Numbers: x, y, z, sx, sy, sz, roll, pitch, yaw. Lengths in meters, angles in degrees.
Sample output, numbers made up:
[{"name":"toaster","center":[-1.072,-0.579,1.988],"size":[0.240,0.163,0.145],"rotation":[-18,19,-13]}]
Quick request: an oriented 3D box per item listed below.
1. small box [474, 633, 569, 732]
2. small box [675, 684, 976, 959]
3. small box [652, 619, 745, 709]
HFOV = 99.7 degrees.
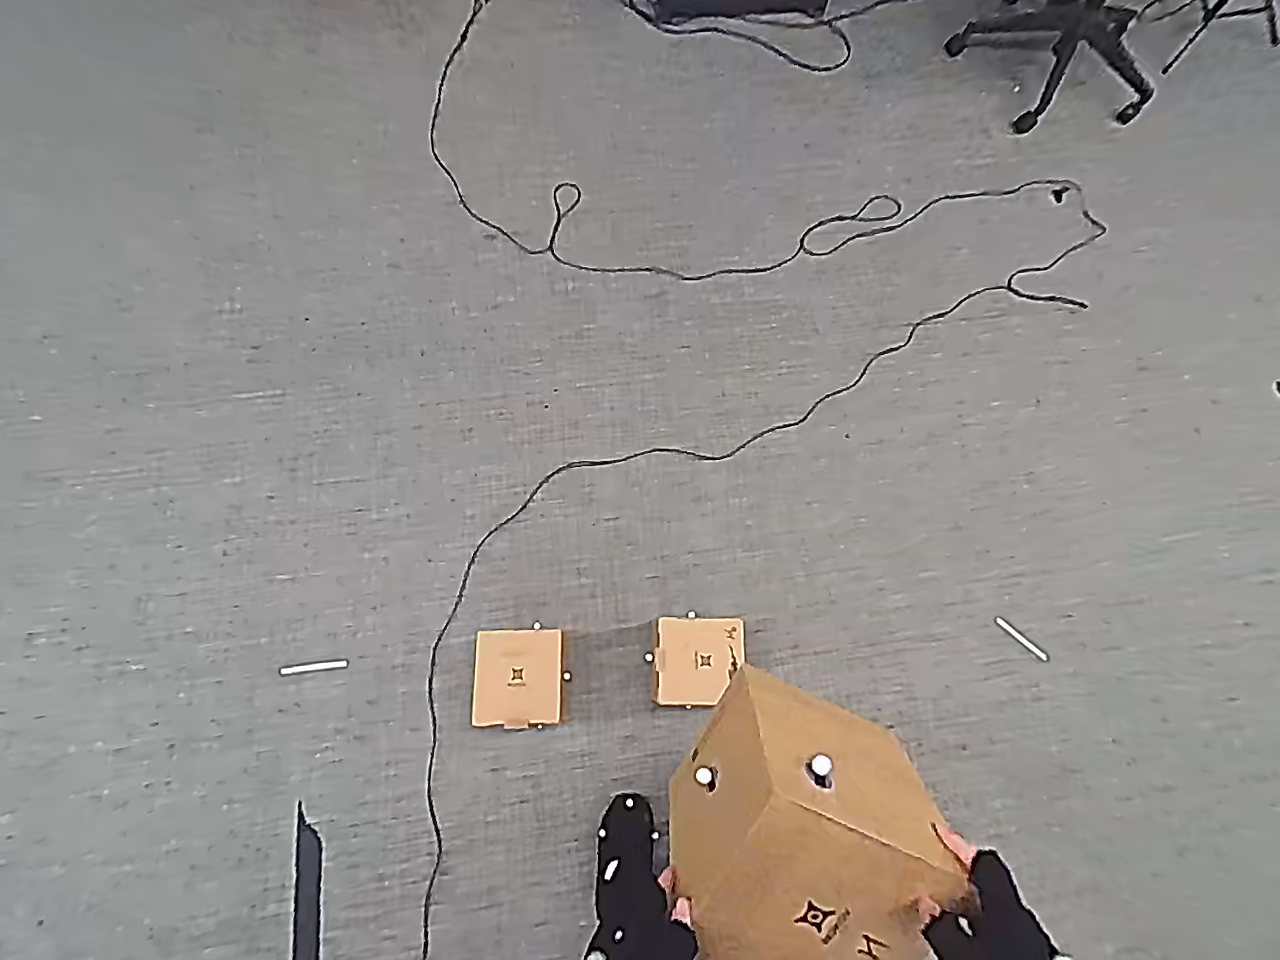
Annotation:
[{"name":"small box","center":[-0.235,0.409,1.115],"size":[0.168,0.176,0.179],"rotation":[0,74,-4]},{"name":"small box","center":[0.141,0.317,0.489],"size":[0.179,0.176,0.168],"rotation":[25,103,-4]},{"name":"small box","center":[0.118,0.384,1.139],"size":[0.179,0.176,0.168],"rotation":[2,74,-2]}]
